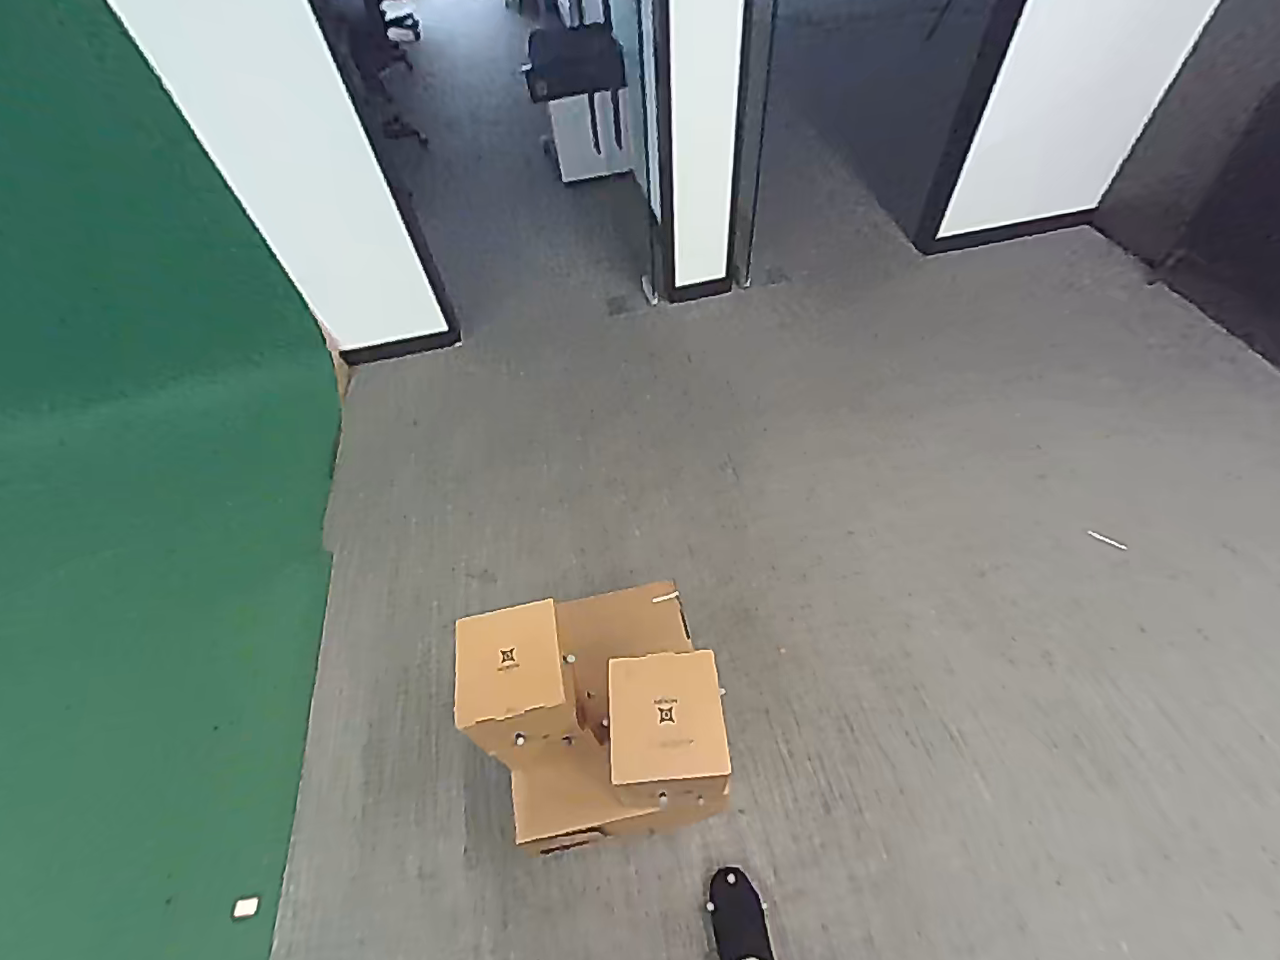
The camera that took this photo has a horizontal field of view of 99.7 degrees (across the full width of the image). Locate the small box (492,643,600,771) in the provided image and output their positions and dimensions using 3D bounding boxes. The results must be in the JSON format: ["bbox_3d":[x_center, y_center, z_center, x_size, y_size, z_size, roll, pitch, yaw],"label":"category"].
[{"bbox_3d":[-0.178,0.439,1.040,0.179,0.176,0.168,-13,50,-4],"label":"small box"}]

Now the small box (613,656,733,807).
[{"bbox_3d":[0.046,0.393,0.842,0.168,0.176,0.179,-5,52,2],"label":"small box"}]

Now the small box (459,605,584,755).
[{"bbox_3d":[-0.195,0.338,0.912,0.168,0.176,0.179,-11,52,-3],"label":"small box"}]
